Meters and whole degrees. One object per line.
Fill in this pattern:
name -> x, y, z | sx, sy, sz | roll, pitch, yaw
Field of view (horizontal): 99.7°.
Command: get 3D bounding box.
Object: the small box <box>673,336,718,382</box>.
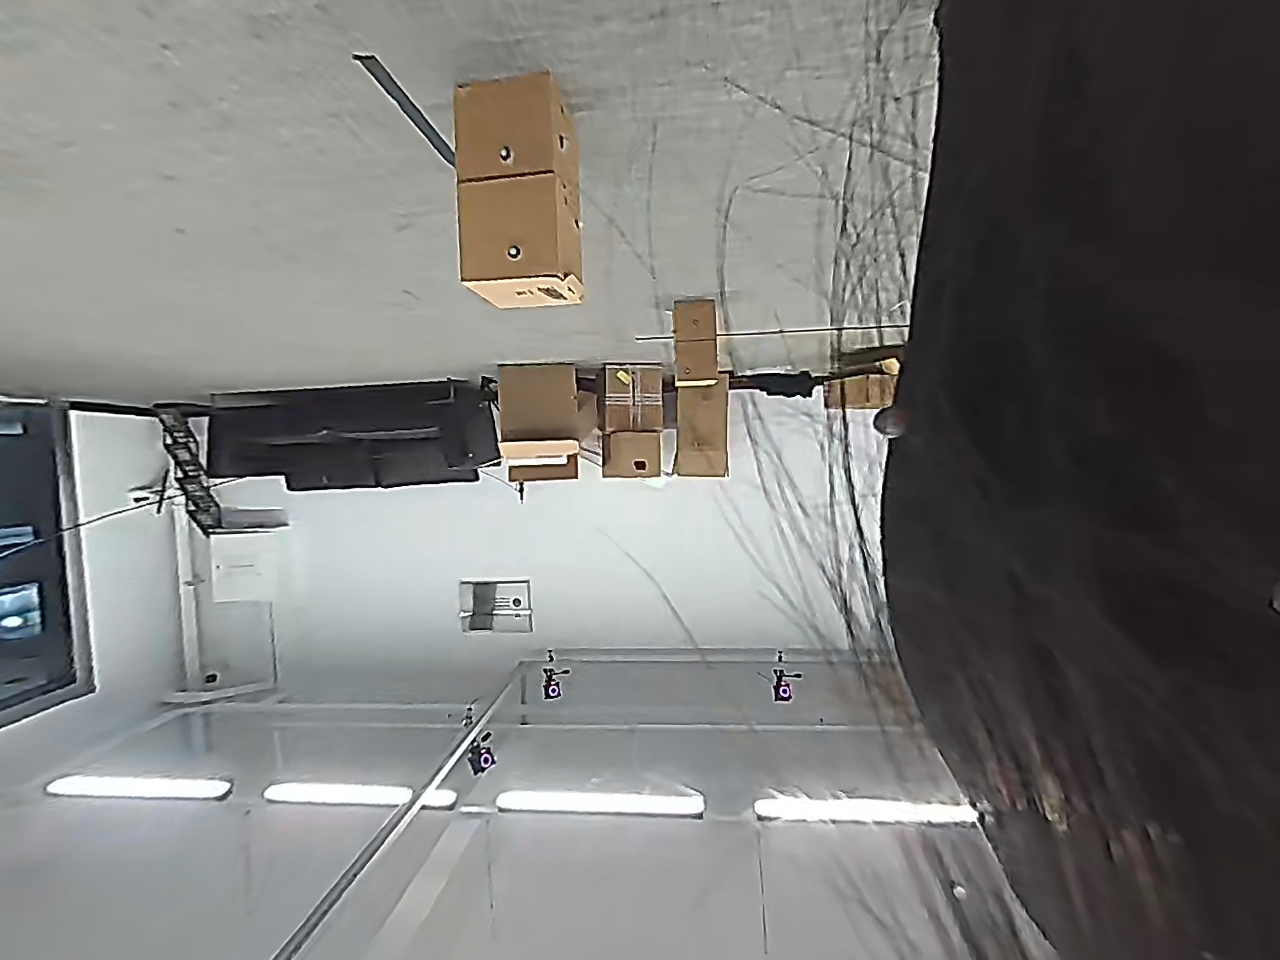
small box -> 0.235, -0.520, 2.325 | 0.179, 0.176, 0.168 | -3, -176, 2

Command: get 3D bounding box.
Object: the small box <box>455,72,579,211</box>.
small box -> -0.217, -0.597, 0.975 | 0.179, 0.176, 0.168 | 0, -177, 10

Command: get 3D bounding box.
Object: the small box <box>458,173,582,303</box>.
small box -> -0.212, -0.432, 0.979 | 0.179, 0.176, 0.168 | -1, -177, 9
